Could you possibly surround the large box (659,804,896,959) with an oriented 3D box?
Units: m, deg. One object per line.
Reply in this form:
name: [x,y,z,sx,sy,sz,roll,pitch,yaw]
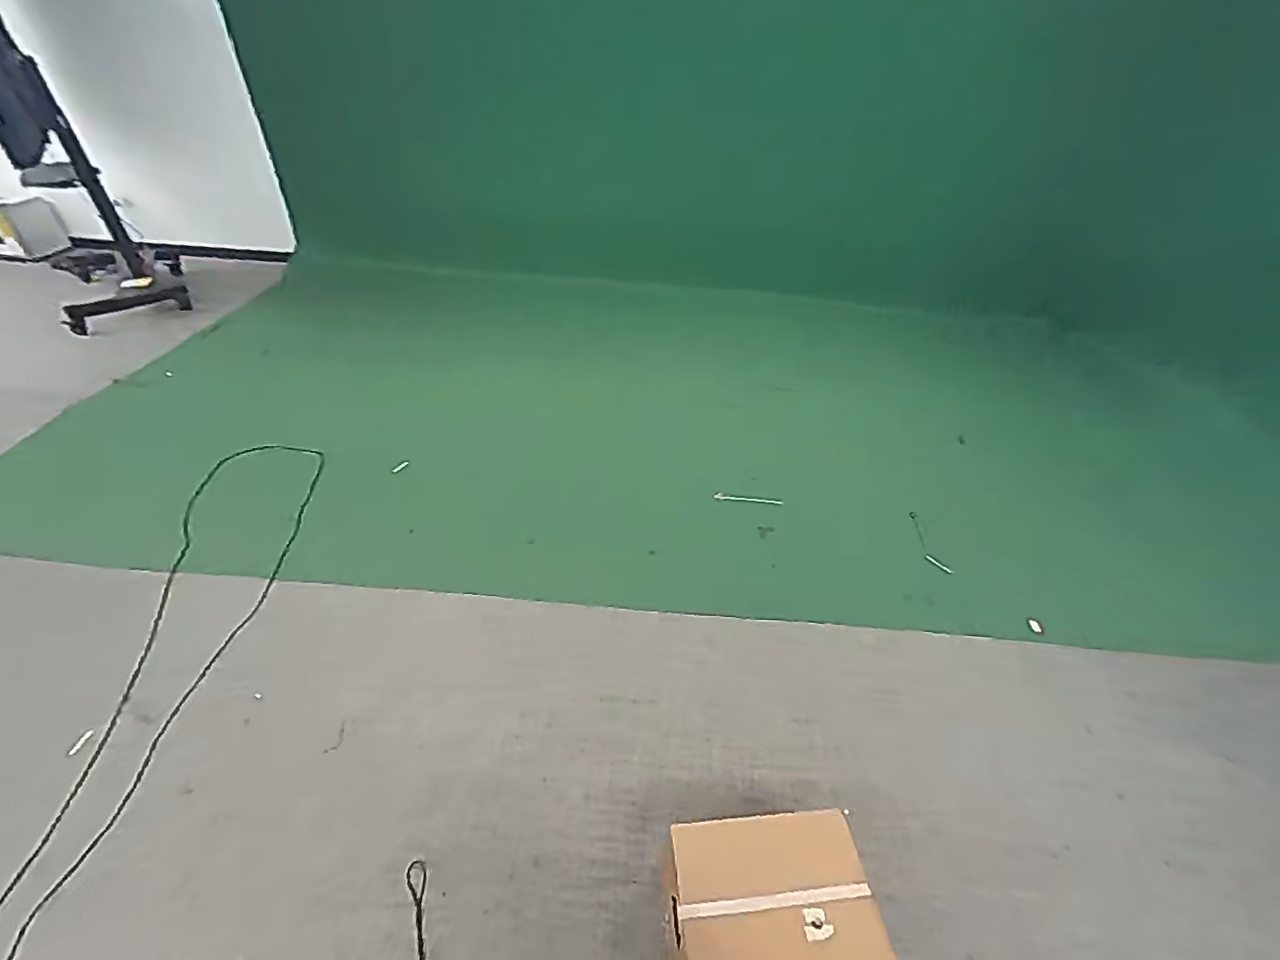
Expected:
large box: [0.271,0.967,1.199,0.408,0.320,0.320,-1,40,-7]
